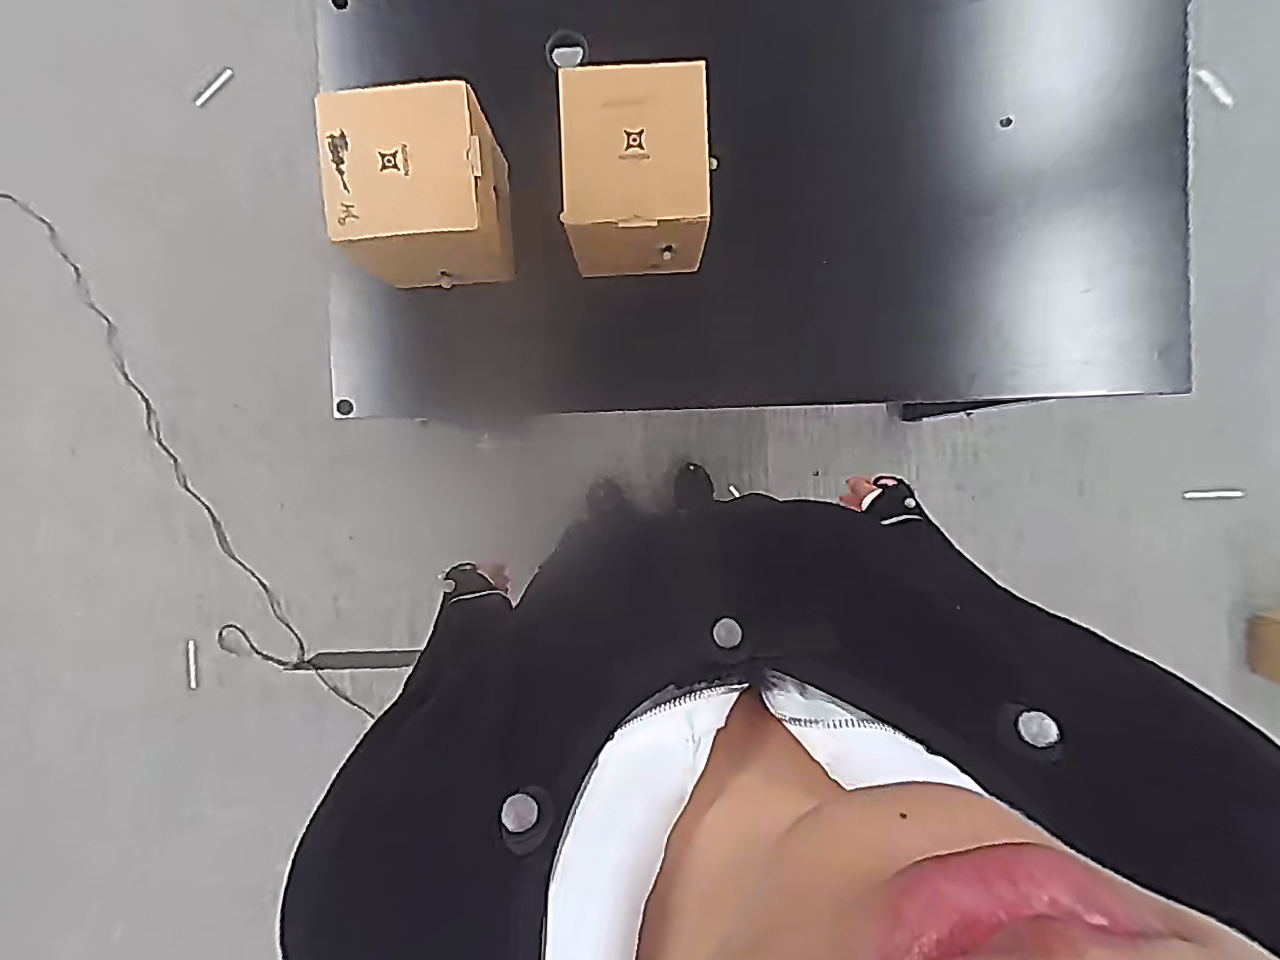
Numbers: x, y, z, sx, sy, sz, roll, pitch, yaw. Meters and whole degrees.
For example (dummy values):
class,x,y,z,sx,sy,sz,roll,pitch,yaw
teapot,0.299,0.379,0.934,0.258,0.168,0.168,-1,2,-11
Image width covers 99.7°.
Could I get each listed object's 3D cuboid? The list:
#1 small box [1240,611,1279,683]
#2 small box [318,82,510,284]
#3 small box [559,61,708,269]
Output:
class,x,y,z,sx,sy,sz,roll,pitch,yaw
small box,1.746,0.446,1.418,0.168,0.176,0.179,-2,92,1
small box,-0.268,-0.359,0.683,0.179,0.176,0.168,-4,91,-1
small box,-0.006,-0.378,0.682,0.168,0.176,0.179,-3,91,-1
